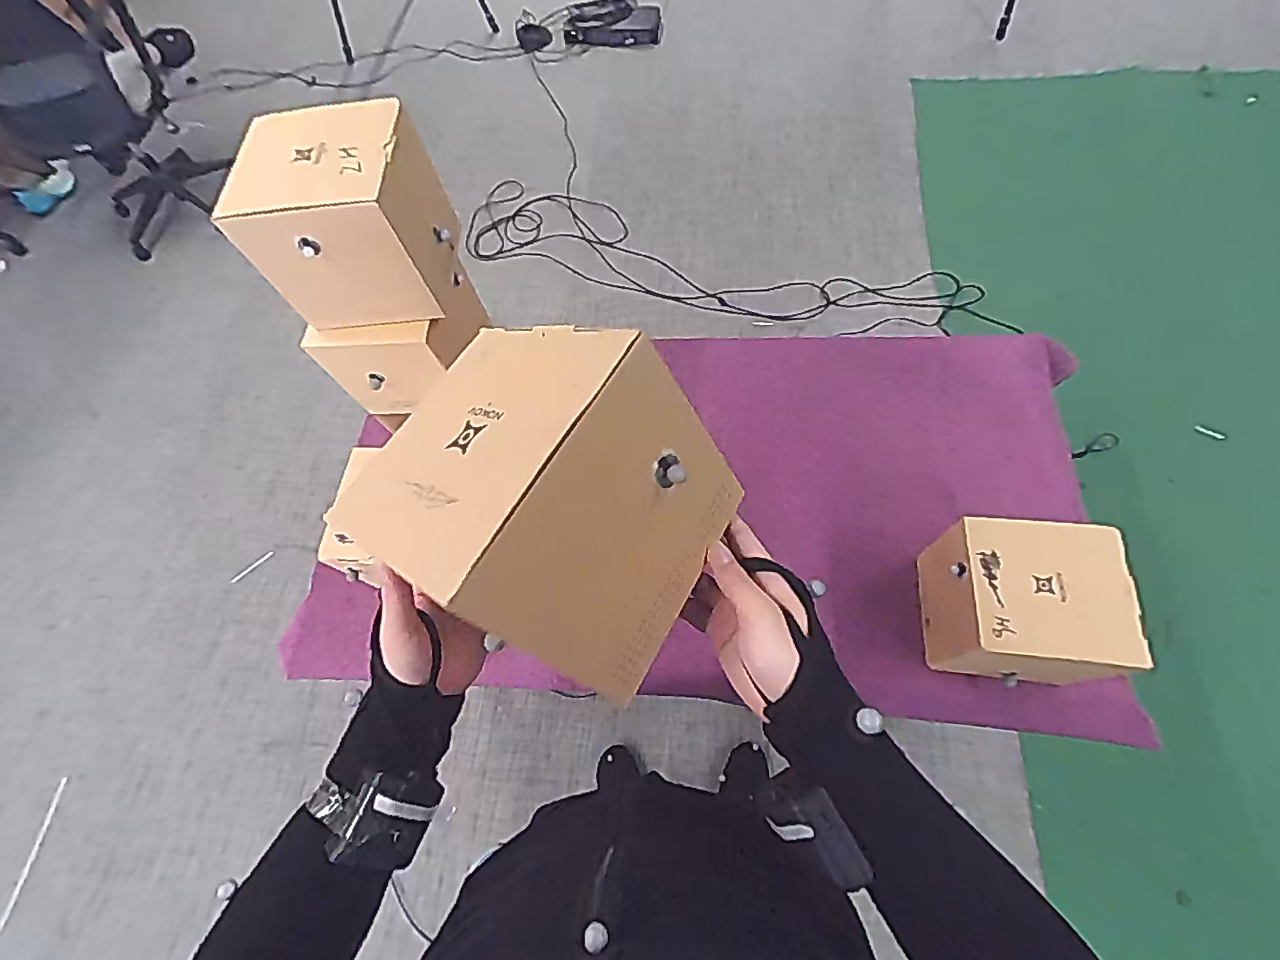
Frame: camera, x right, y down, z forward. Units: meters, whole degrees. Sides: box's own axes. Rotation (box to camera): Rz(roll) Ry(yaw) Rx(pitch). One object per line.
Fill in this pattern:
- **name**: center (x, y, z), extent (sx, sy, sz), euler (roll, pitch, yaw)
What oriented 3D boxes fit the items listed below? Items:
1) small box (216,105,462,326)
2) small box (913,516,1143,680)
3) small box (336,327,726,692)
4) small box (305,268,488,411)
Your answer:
- **small box**: center (-0.334, -0.301, 0.640), extent (0.179, 0.176, 0.168), euler (-4, 65, 4)
- **small box**: center (0.483, 0.160, 0.705), extent (0.179, 0.176, 0.168), euler (5, 64, 8)
- **small box**: center (-0.059, 0.016, 0.381), extent (0.168, 0.176, 0.179), euler (14, 65, 41)
- **small box**: center (-0.332, -0.209, 0.779), extent (0.168, 0.176, 0.179), euler (-1, 65, 5)
